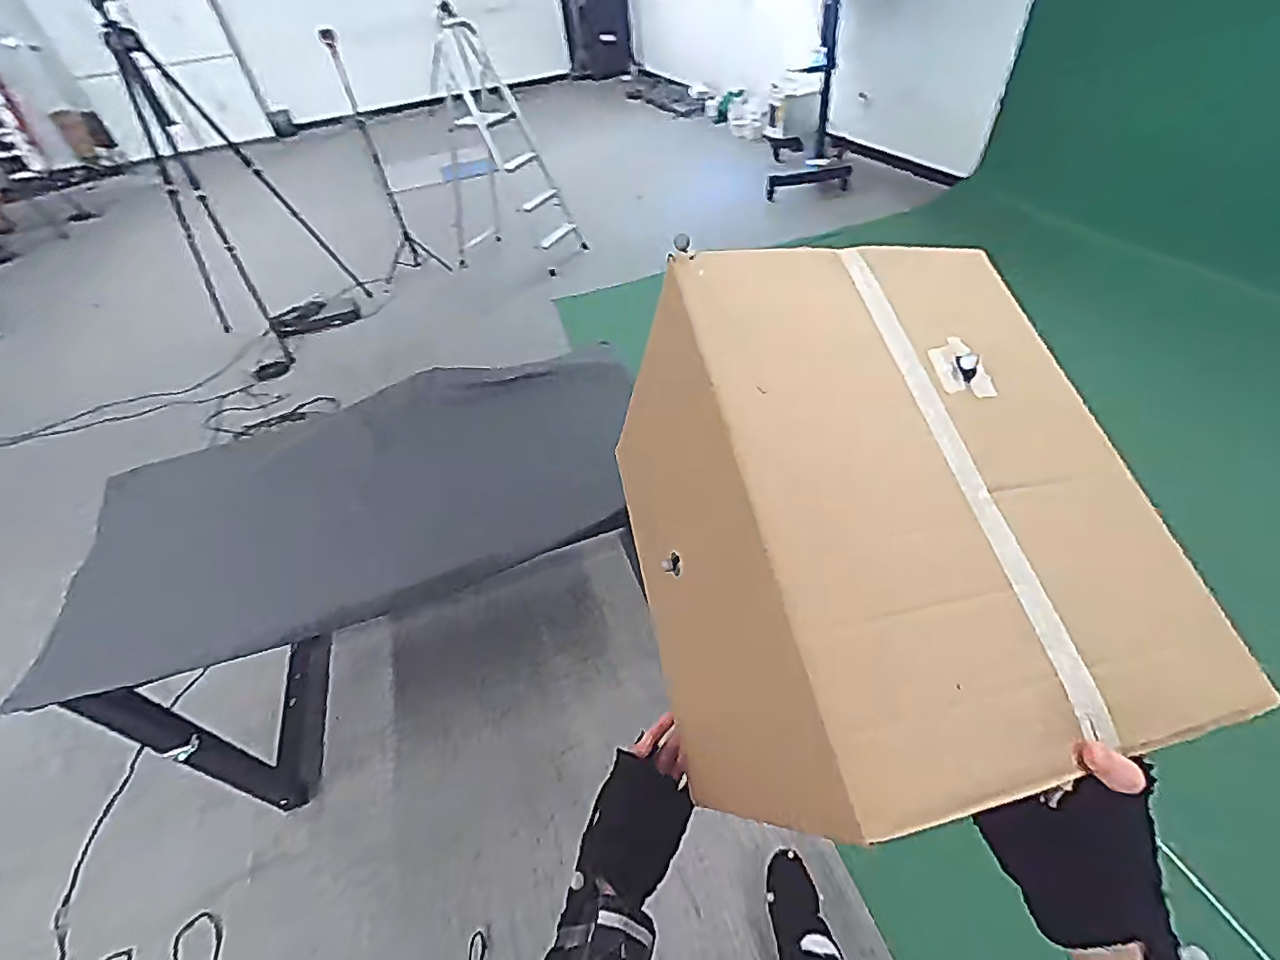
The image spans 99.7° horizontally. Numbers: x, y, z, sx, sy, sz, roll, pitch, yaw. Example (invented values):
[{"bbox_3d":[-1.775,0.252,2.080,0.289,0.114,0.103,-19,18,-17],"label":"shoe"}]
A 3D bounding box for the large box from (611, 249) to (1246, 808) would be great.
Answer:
[{"bbox_3d":[0.174,0.044,0.520,0.320,0.320,0.408,-7,63,-15],"label":"large box"}]
